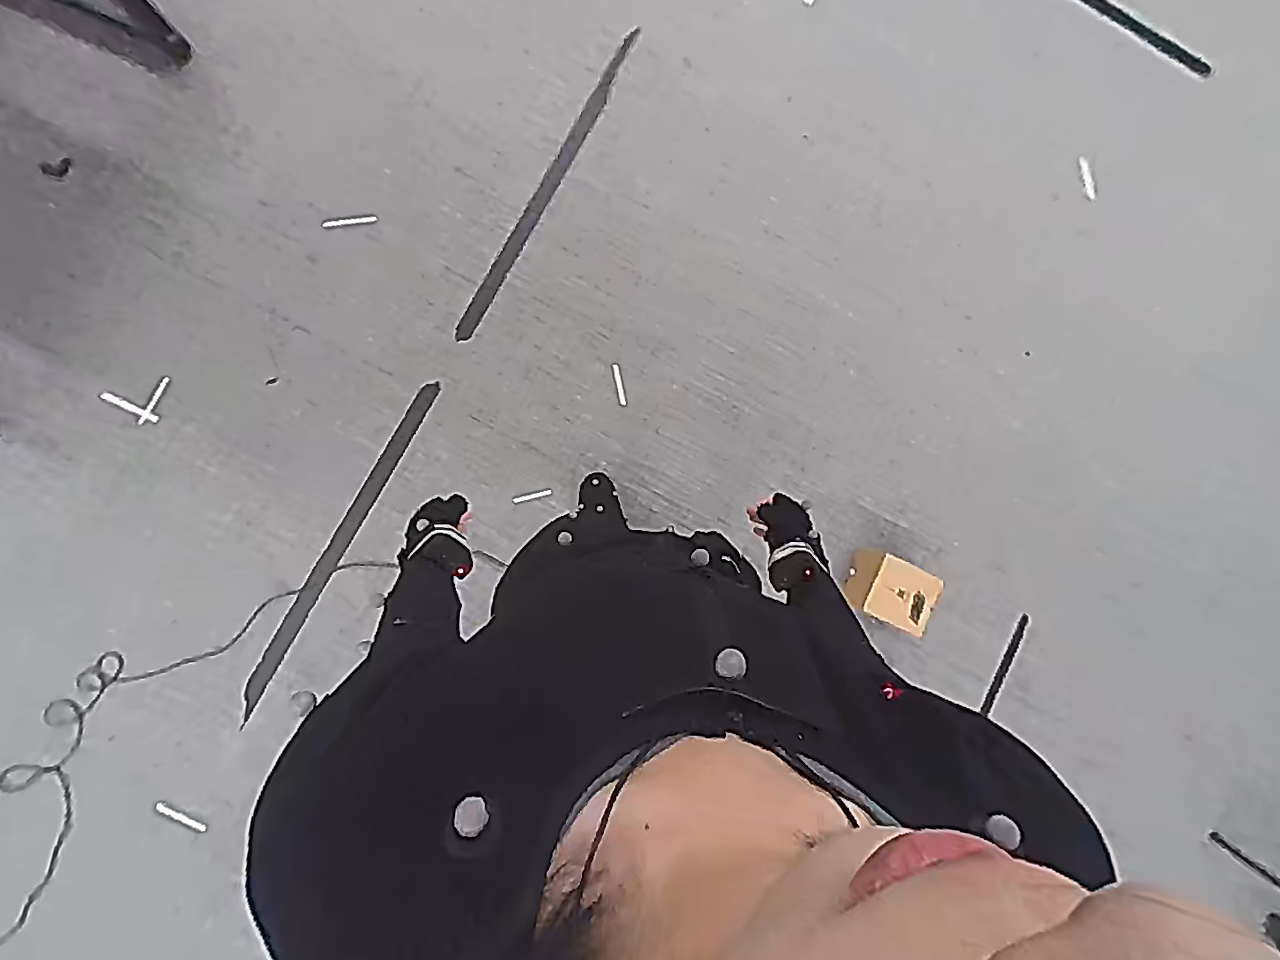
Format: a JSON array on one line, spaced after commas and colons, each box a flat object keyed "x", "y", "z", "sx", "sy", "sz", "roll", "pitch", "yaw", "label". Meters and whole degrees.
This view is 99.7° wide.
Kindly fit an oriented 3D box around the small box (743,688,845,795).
[{"x": 0.400, "y": 0.683, "z": 1.442, "sx": 0.179, "sy": 0.176, "sz": 0.168, "roll": 42, "pitch": 86, "yaw": -1, "label": "small box"}]

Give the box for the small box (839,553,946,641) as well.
[{"x": 0.681, "y": 0.310, "z": 1.477, "sx": 0.179, "sy": 0.176, "sz": 0.168, "roll": 26, "pitch": 86, "yaw": -2, "label": "small box"}]
